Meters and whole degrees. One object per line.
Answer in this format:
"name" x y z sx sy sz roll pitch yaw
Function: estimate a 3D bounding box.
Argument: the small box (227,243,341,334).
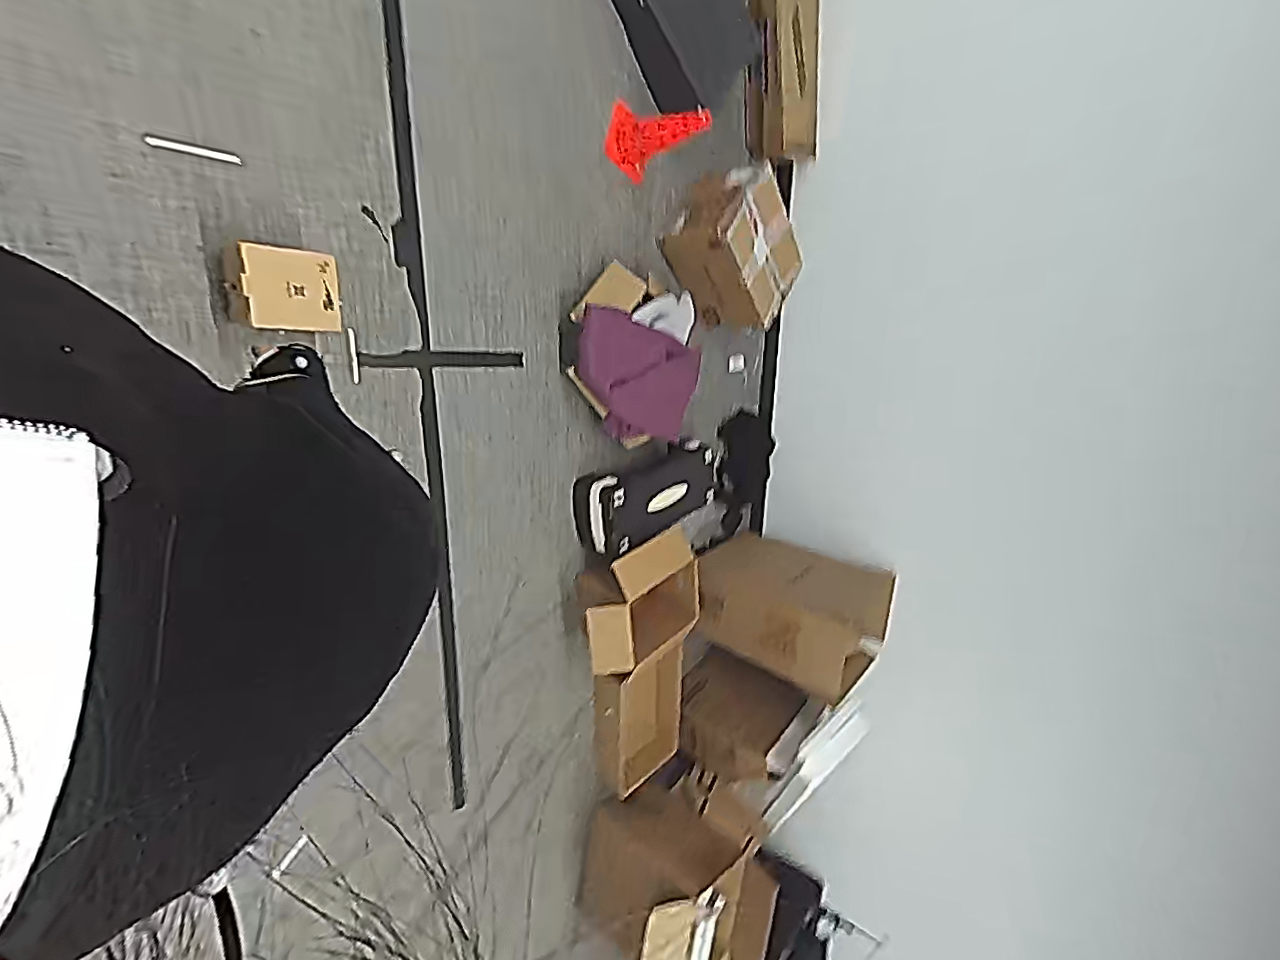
"small box" -0.789 -0.414 1.196 0.179 0.176 0.168 -11 109 -46
